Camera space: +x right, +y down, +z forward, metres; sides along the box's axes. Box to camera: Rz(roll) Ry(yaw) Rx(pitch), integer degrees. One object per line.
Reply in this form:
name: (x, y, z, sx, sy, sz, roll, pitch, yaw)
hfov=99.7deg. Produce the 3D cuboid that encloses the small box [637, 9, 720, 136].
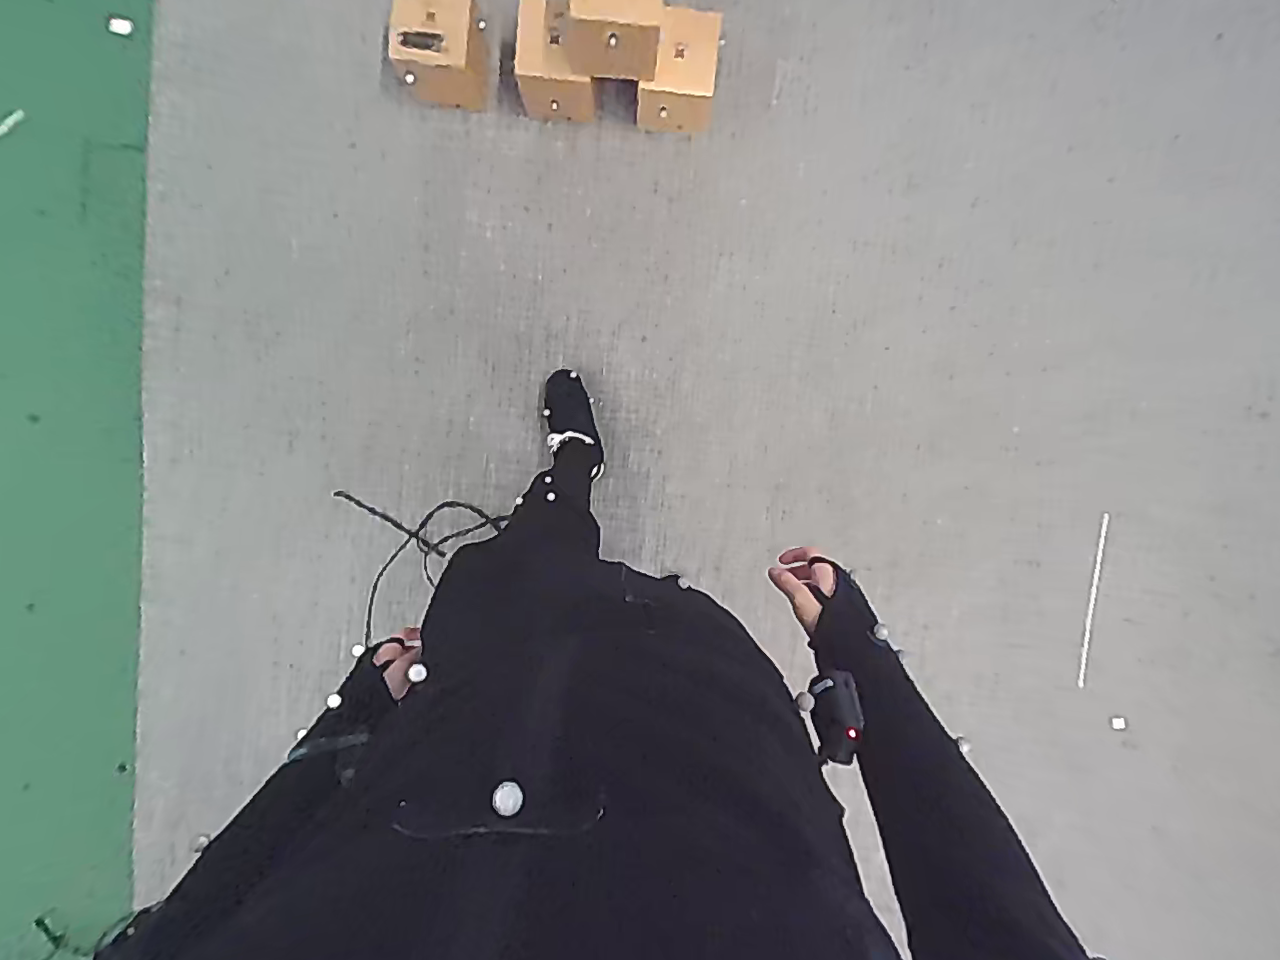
small box: (0.083, -0.935, 1.255, 0.168, 0.176, 0.179, 6, 94, -2)

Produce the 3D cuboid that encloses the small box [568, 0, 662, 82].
small box: (-0.046, -0.941, 1.087, 0.179, 0.176, 0.168, 4, 95, -4)
